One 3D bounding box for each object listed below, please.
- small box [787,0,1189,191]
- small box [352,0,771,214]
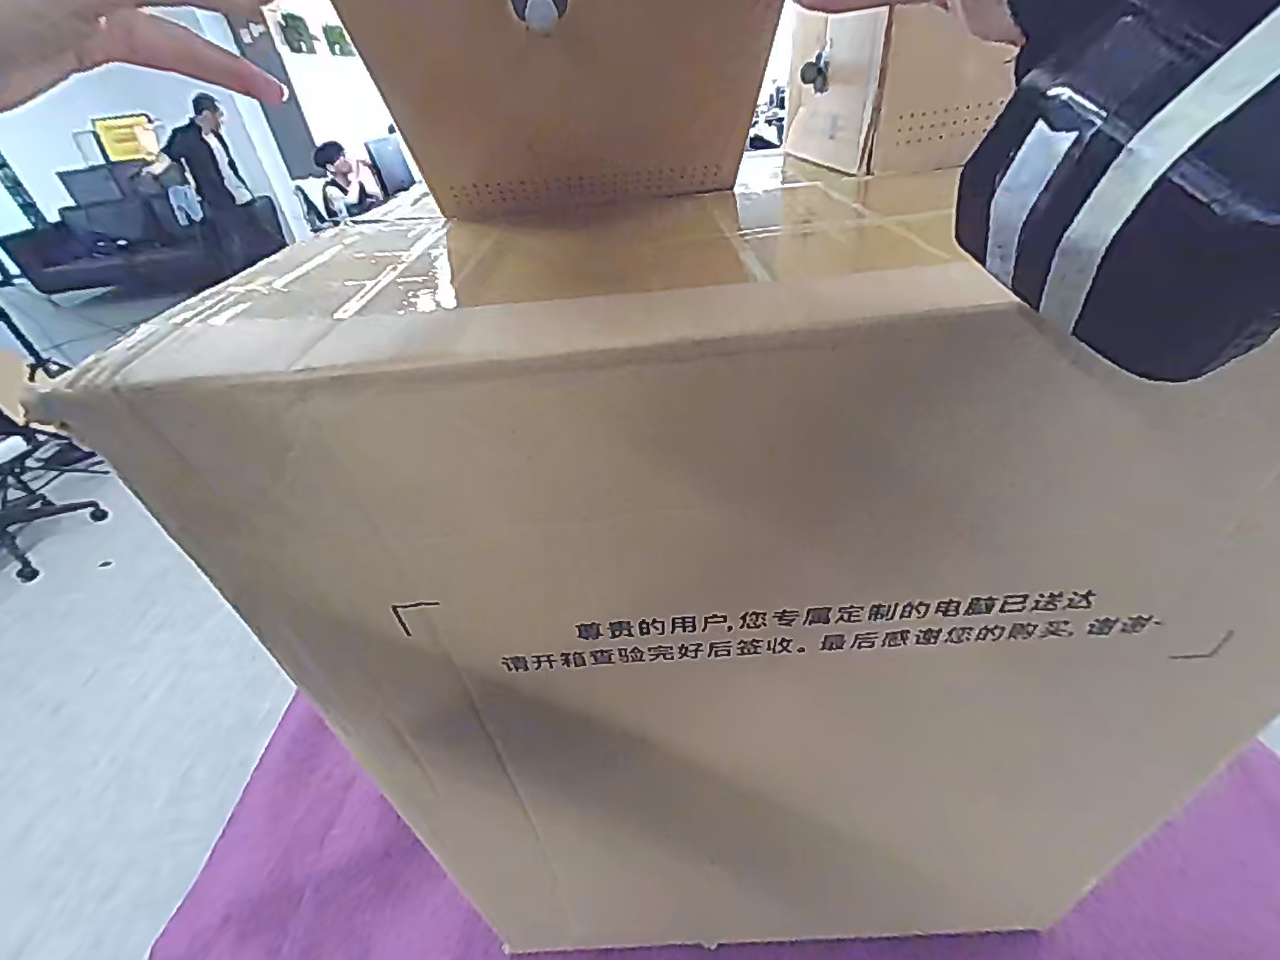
[{"bbox_3d":[0.205,-0.299,0.344,0.179,0.176,0.168,-9,37,-1],"label":"small box"},{"bbox_3d":[-0.035,-0.252,0.256,0.179,0.176,0.168,-5,81,-2],"label":"small box"}]
